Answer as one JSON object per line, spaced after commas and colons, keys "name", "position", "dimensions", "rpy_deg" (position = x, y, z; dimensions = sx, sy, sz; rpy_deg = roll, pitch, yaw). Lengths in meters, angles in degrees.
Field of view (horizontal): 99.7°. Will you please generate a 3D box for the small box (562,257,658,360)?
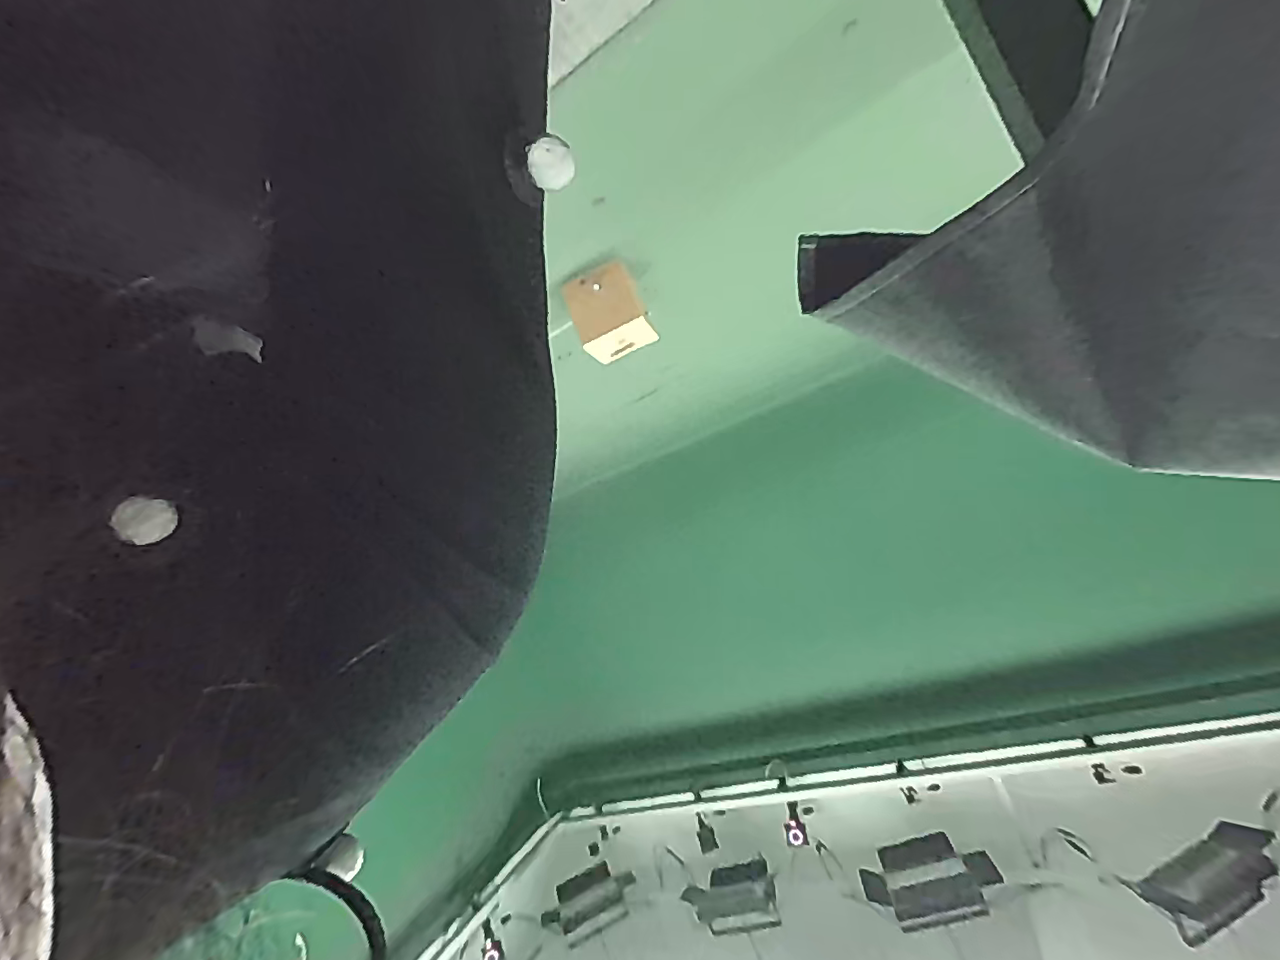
{"name": "small box", "position": [-0.072, -0.430, 1.368], "dimensions": [0.168, 0.176, 0.179], "rpy_deg": [-23, 172, 13]}
